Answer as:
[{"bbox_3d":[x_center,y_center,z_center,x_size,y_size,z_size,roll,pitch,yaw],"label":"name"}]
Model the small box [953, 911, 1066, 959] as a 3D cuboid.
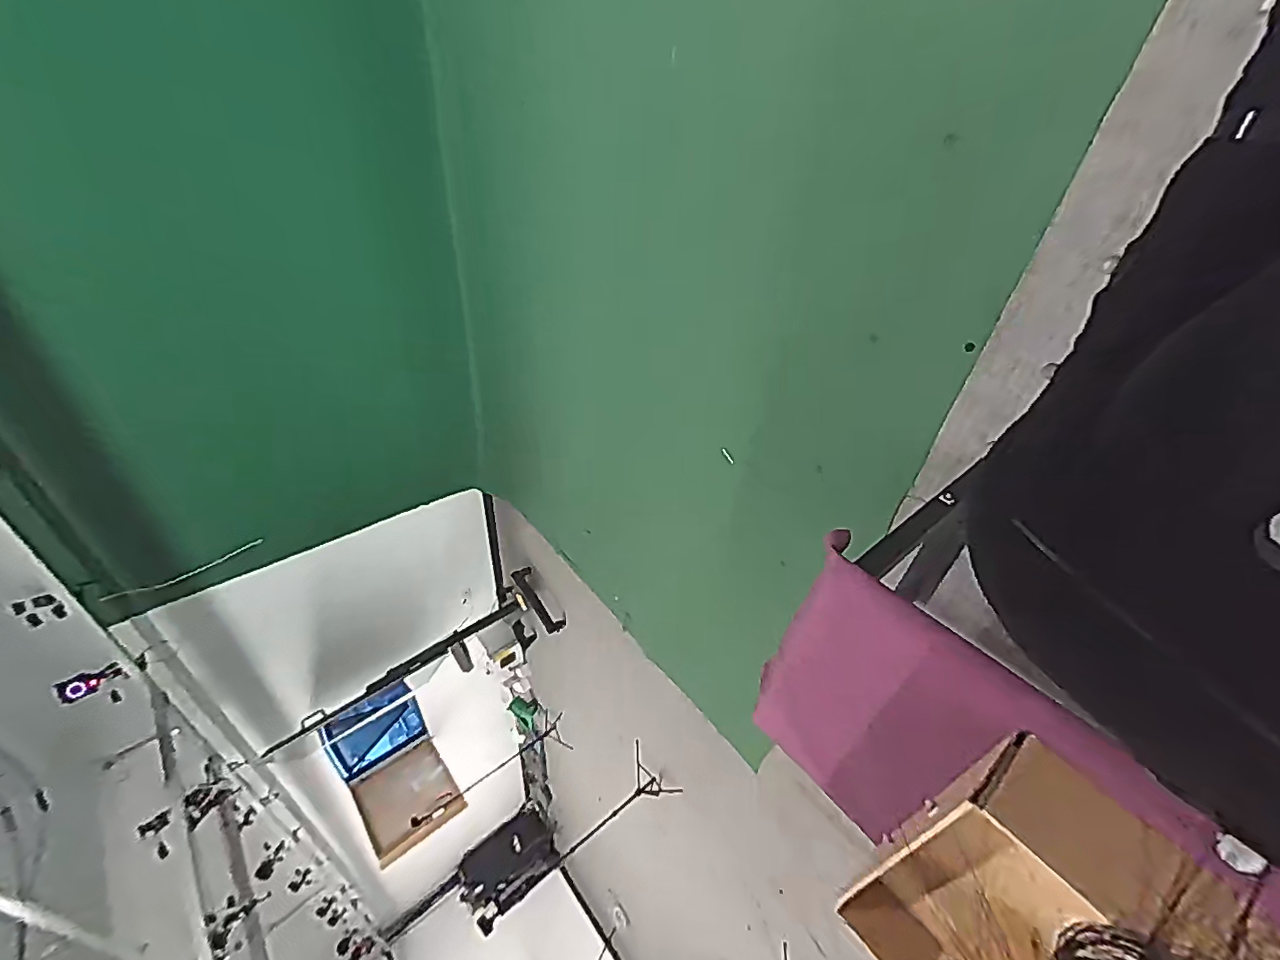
[{"bbox_3d":[0.639,0.884,0.914,0.168,0.176,0.179,41,139,34],"label":"small box"}]
